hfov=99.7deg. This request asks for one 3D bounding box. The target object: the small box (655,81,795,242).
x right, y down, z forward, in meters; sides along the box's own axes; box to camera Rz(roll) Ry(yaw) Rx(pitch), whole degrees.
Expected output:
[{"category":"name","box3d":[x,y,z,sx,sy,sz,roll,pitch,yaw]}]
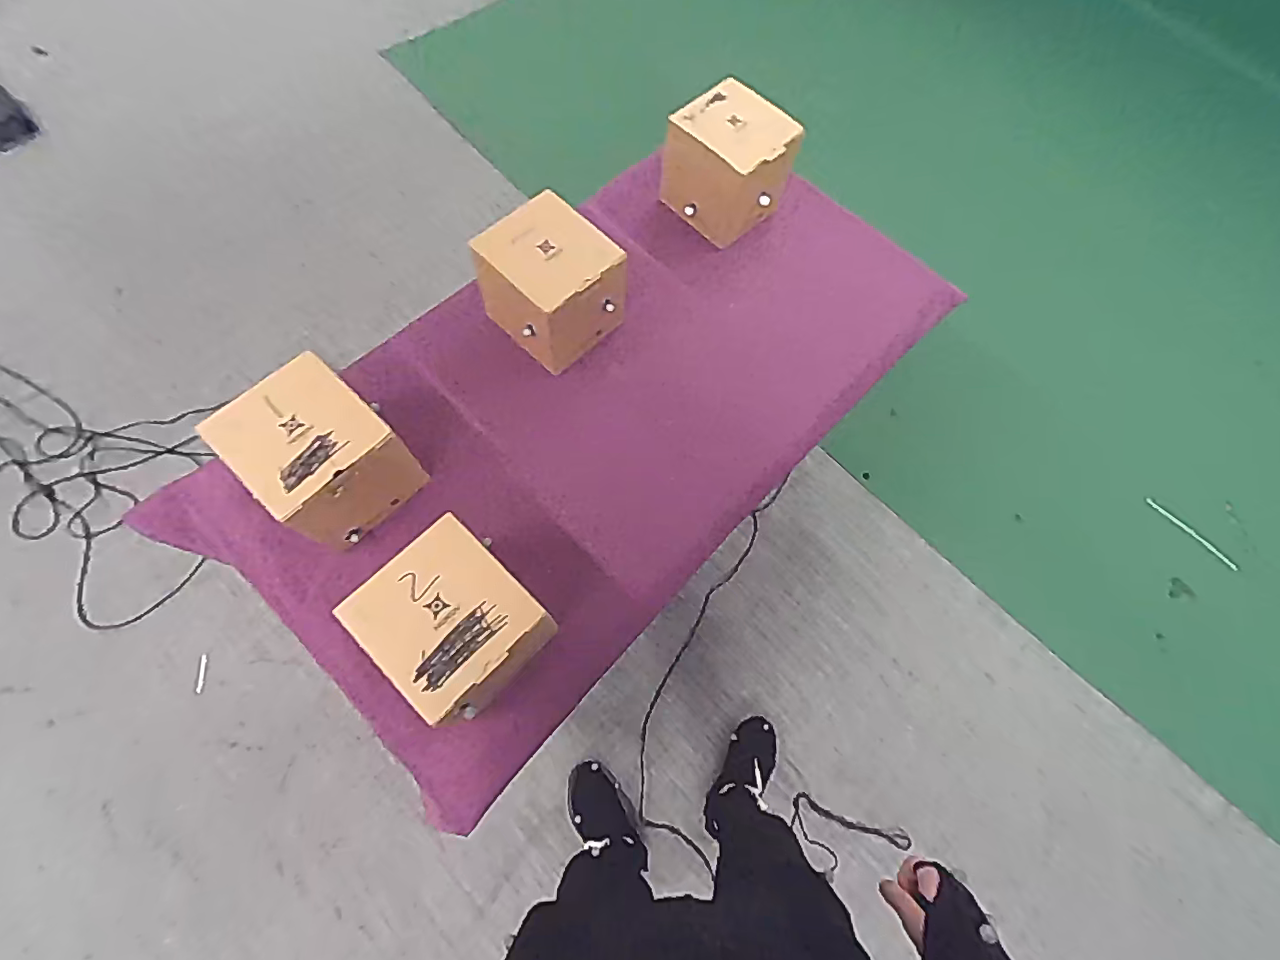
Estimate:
[{"category":"small box","box3d":[0.147,-0.574,0.999,0.179,0.176,0.168,44,72,11]}]

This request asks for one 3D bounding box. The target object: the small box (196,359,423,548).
[{"category":"small box","box3d":[-0.435,-0.024,0.747,0.179,0.176,0.168,41,71,12]}]

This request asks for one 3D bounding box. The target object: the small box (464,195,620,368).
[{"category":"small box","box3d":[-0.150,-0.308,0.878,0.179,0.176,0.168,42,71,12]}]
